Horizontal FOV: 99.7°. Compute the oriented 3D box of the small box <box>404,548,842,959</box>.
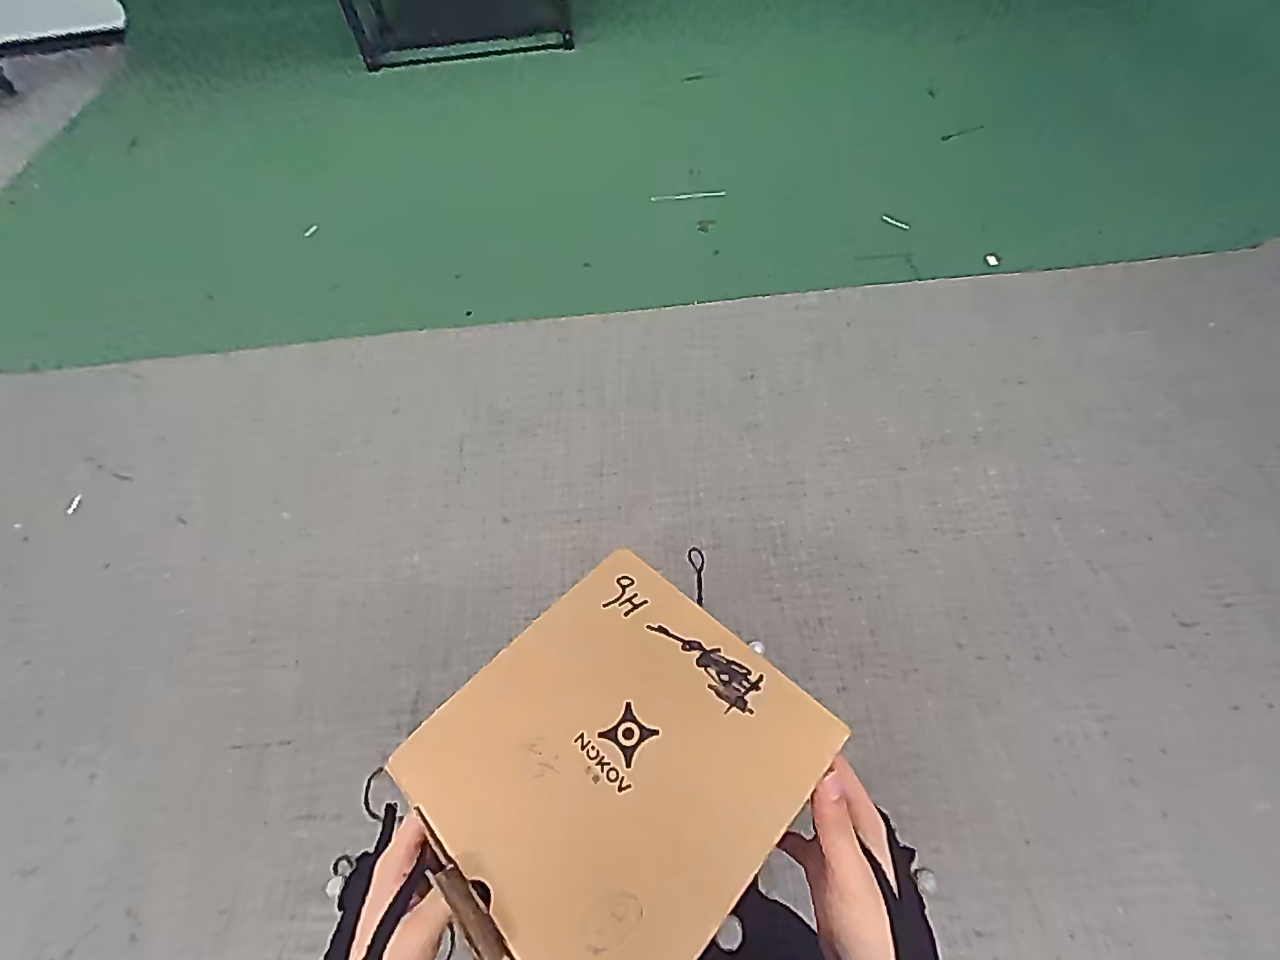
[{"bbox_3d":[-0.003,0.185,0.343,0.168,0.176,0.179,36,63,28],"label":"small box"}]
